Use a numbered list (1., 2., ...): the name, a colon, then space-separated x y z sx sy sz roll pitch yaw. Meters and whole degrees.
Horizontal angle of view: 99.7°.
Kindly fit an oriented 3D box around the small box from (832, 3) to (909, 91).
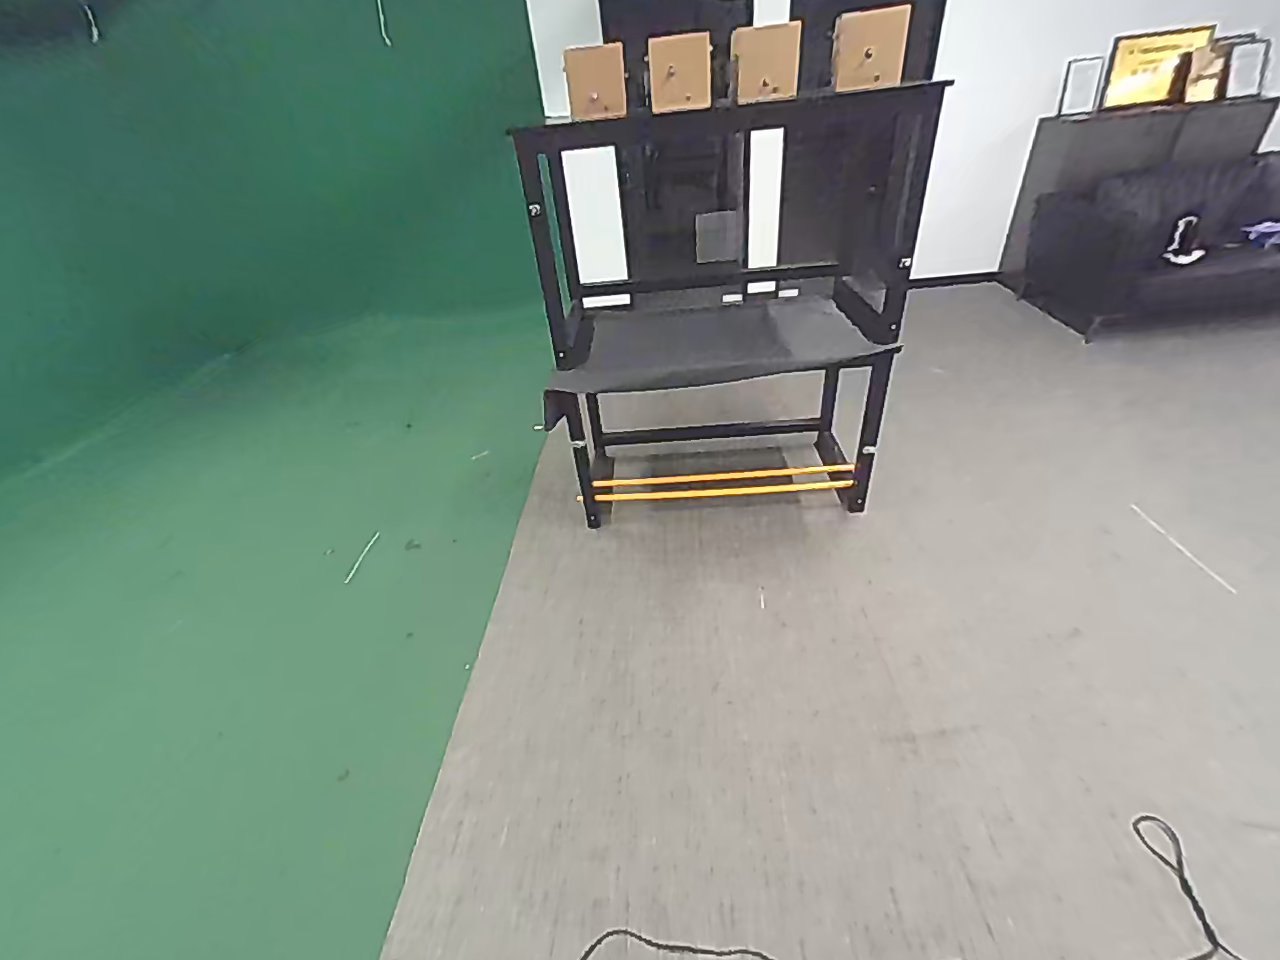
1. small box: 0.629 -1.189 1.494 0.168 0.176 0.179 2 36 12

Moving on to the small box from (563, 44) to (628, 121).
1. small box: -0.126 -1.170 1.598 0.168 0.176 0.179 -6 36 1

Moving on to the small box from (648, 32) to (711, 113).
1. small box: 0.117 -1.172 1.563 0.168 0.176 0.179 -2 35 6
